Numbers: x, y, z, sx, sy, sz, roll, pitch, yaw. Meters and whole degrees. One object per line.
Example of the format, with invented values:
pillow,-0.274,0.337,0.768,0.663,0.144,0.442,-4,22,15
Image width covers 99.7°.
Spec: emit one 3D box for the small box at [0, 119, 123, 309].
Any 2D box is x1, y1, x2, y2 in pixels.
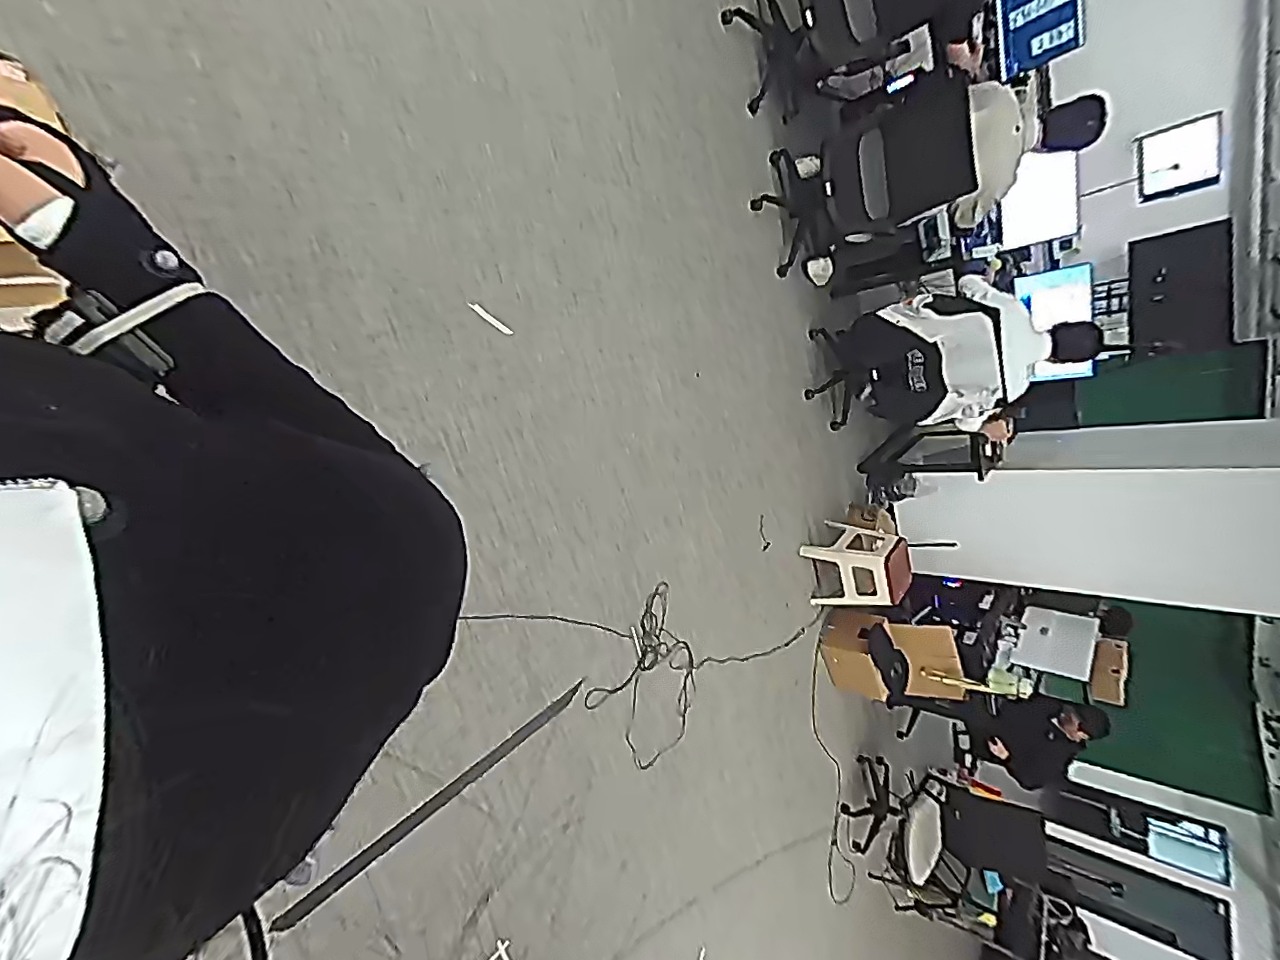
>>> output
small box,-0.765,-0.303,0.635,0.179,0.176,0.168,-30,112,-42
